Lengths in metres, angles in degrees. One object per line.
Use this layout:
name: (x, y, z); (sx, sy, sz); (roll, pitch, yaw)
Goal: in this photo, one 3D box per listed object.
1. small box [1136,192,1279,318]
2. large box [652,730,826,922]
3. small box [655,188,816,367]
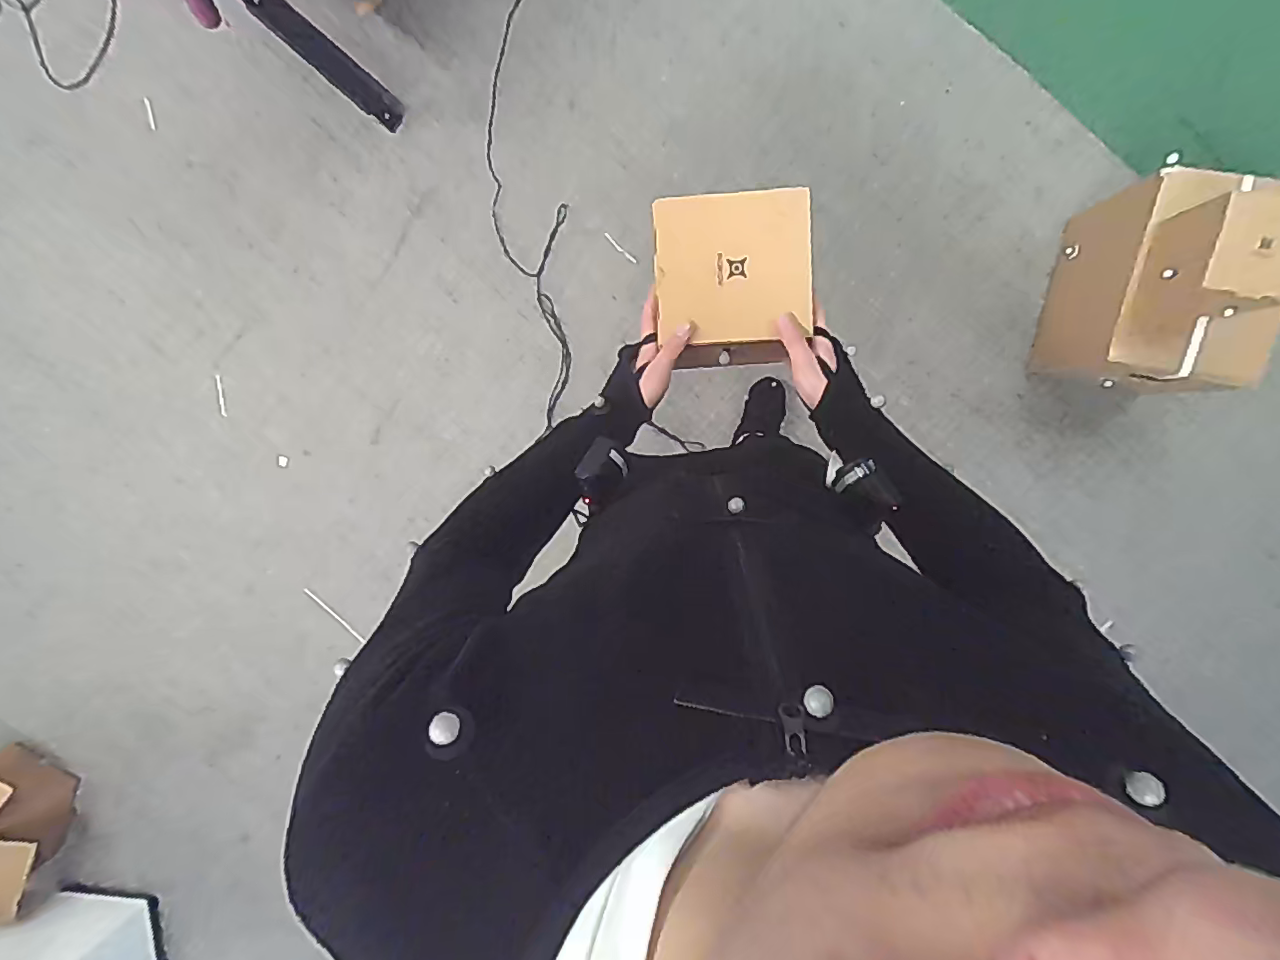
small box: (1.121, -0.420, 1.040); (0.168, 0.176, 0.179); (12, 98, 6)
large box: (0.276, 0.990, 1.581); (0.408, 0.320, 0.320); (-15, 96, 8)
small box: (0.112, -0.238, 0.677); (0.179, 0.176, 0.168); (-2, 93, 6)
